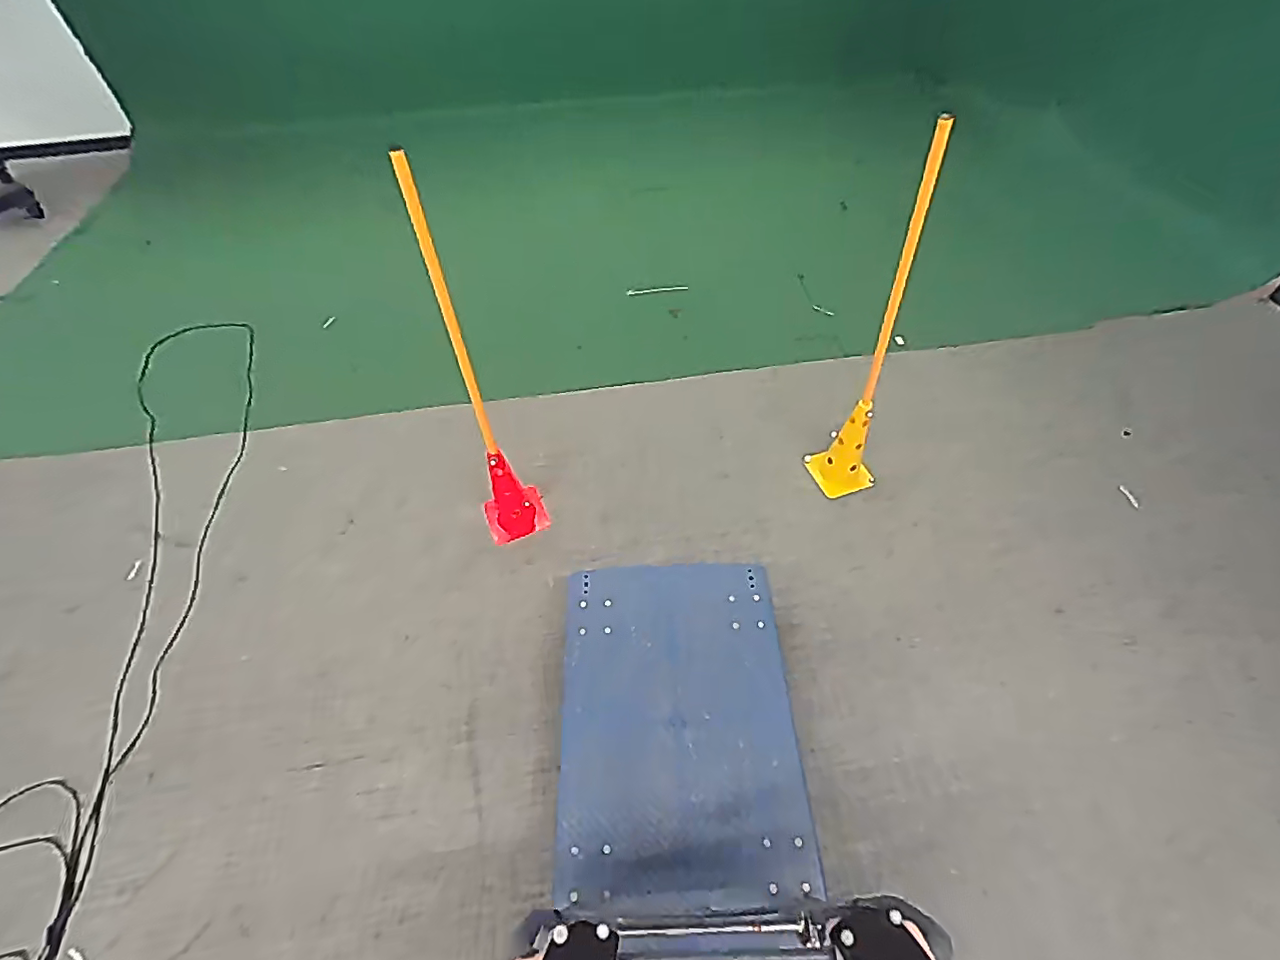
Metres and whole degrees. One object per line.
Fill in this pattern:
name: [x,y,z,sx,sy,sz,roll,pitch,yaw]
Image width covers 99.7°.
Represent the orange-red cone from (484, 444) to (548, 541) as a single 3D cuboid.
orange-red cone: [-0.446,0.011,1.777,0.199,0.360,0.198,-20,55,-12]
